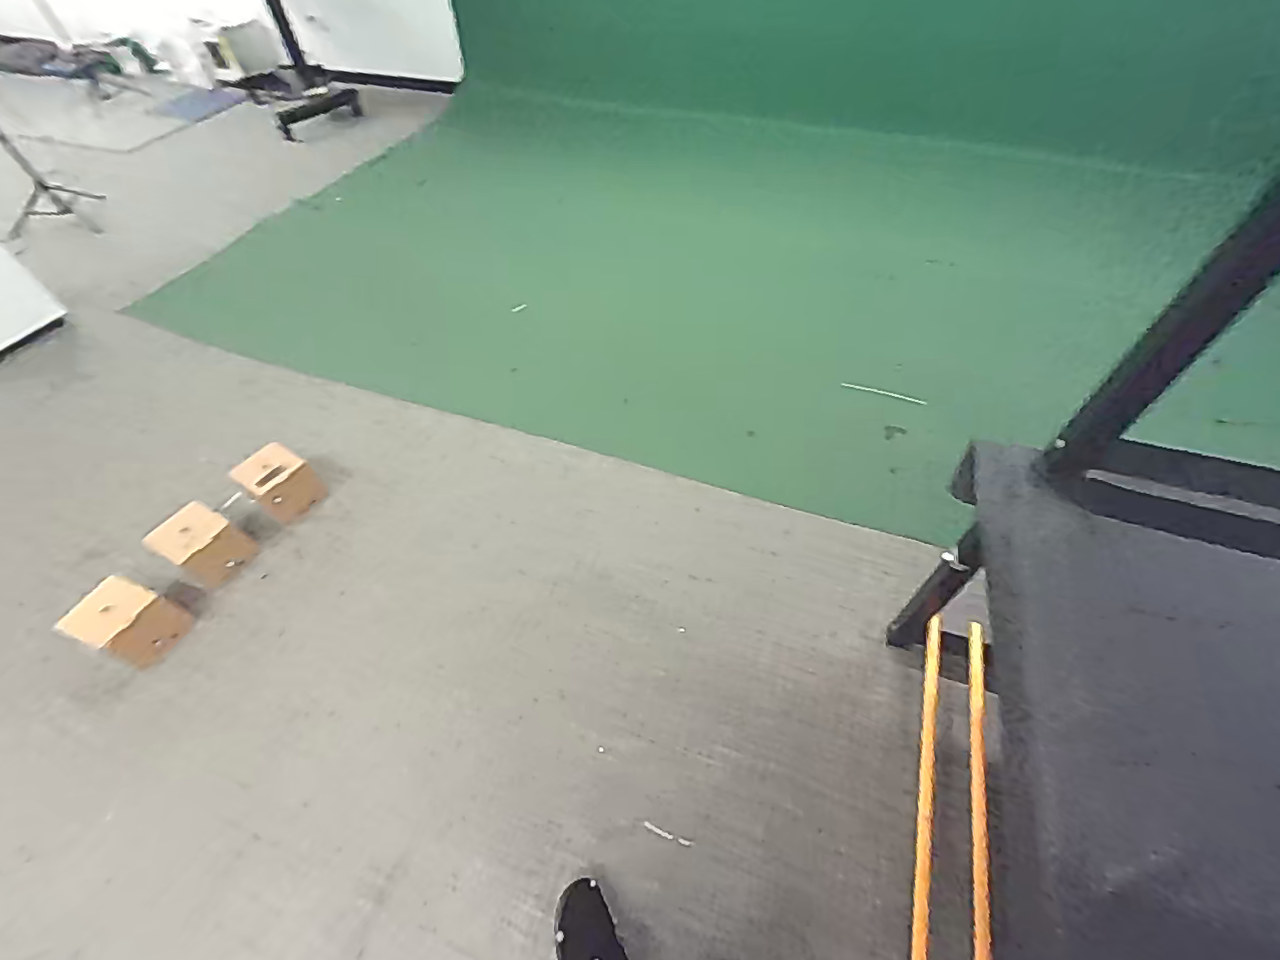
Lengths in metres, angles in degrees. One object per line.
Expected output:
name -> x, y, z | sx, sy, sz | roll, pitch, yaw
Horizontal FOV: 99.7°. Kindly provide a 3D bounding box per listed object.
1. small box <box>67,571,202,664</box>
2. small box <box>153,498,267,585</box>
small box -> -1.383, 0.383, 1.493 | 0.179, 0.176, 0.168 | 17, 54, 14
small box -> -1.296, 0.192, 1.640 | 0.179, 0.176, 0.168 | 24, 57, 18
